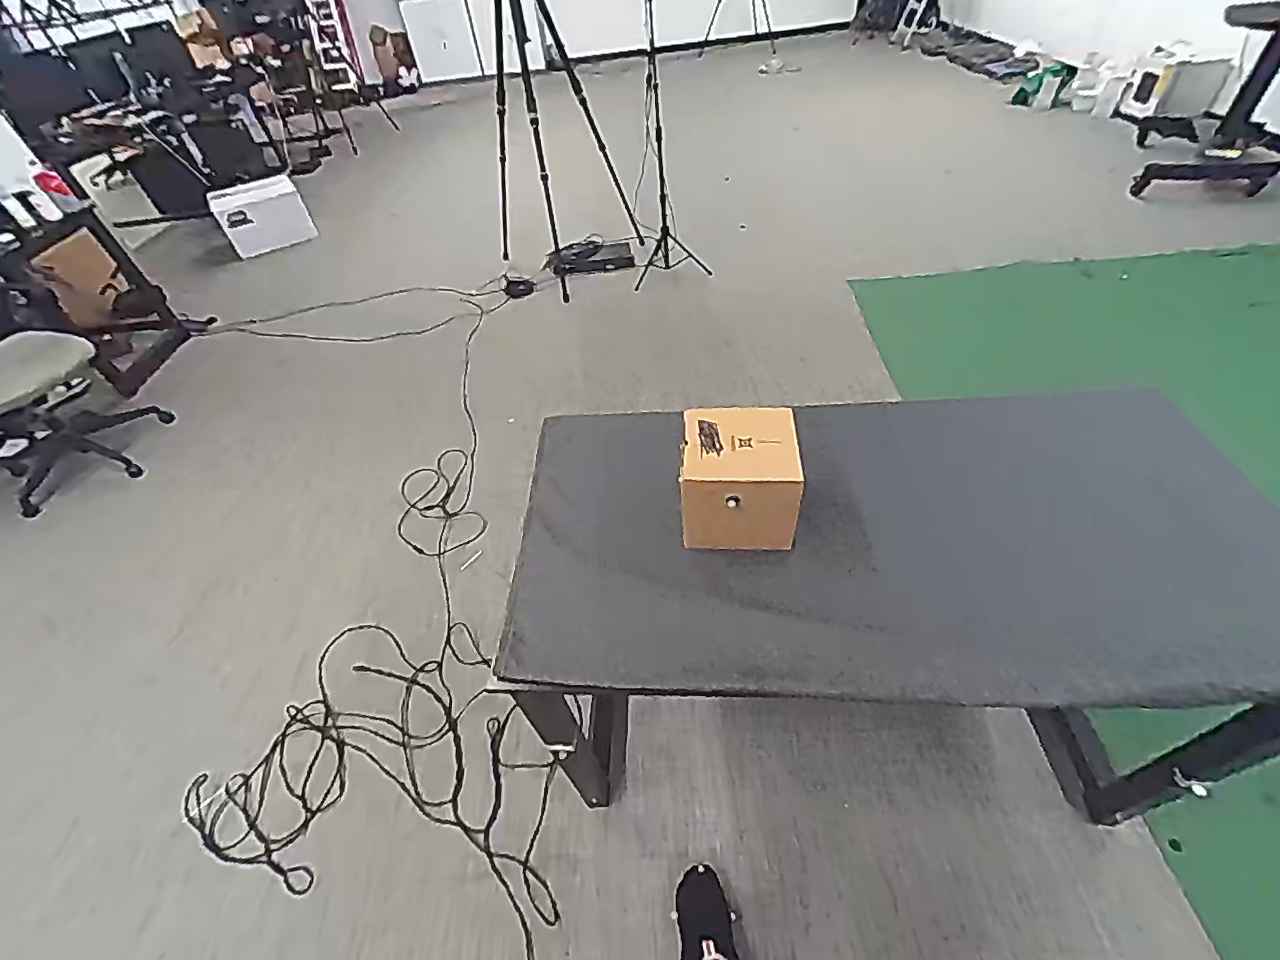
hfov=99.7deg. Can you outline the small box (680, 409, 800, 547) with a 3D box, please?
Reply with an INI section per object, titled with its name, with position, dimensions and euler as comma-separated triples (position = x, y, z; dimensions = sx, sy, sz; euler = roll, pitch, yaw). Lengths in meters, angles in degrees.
[small box]
position = 0.160, -0.002, 0.899
dimensions = 0.179, 0.176, 0.168
euler = 1, 47, 6
